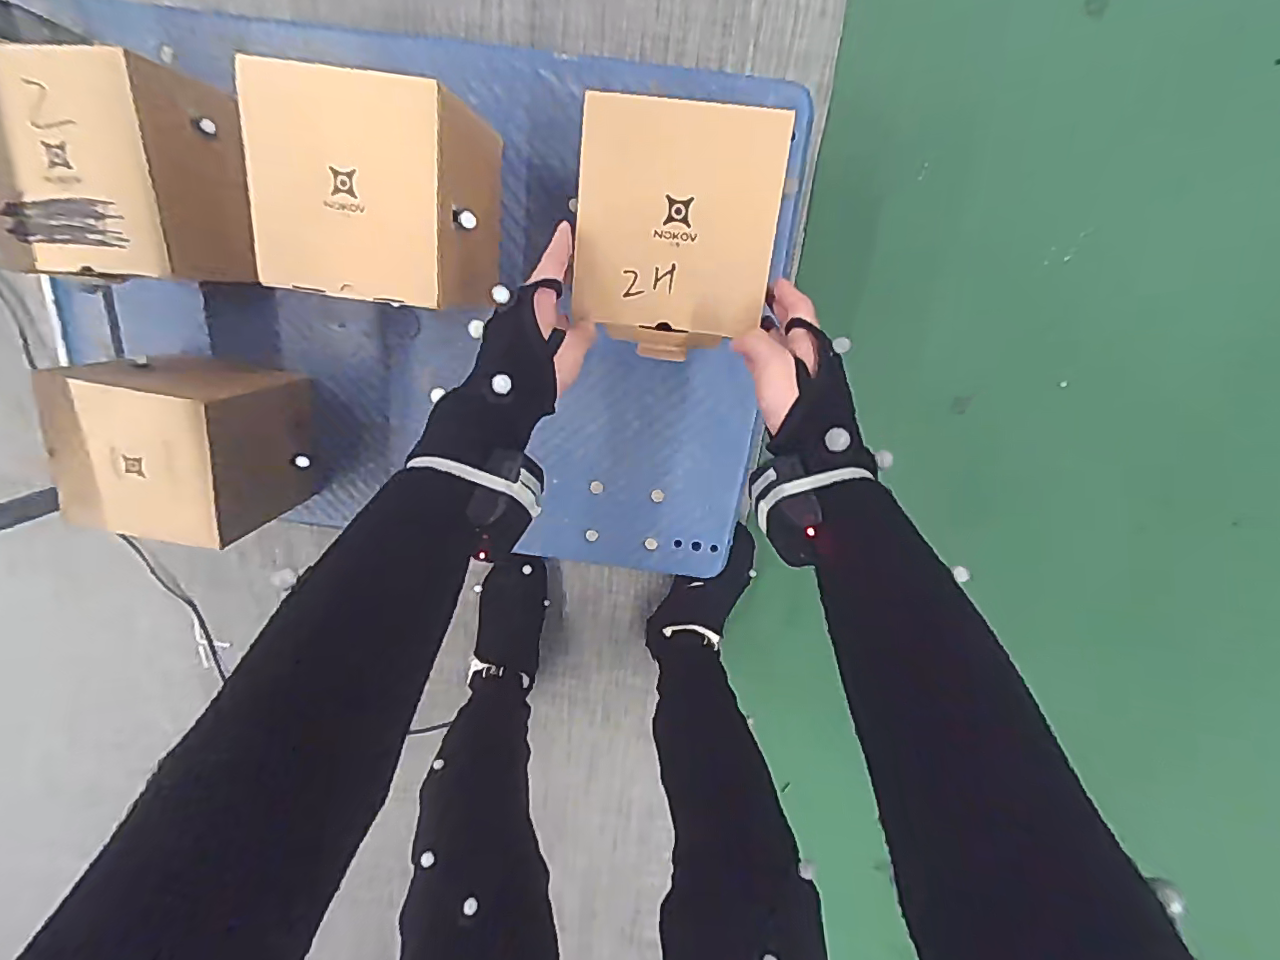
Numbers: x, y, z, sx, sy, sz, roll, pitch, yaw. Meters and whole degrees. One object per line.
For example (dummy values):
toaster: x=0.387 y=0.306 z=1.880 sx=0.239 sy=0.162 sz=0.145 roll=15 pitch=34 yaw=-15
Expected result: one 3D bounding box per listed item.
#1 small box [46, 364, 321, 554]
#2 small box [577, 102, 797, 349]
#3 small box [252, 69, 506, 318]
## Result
small box: x=-0.508 y=-0.036 z=0.631 sx=0.179 sy=0.176 sz=0.168 roll=10 pitch=109 yaw=-1
small box: x=0.039 y=-0.232 z=0.527 sx=0.168 sy=0.176 sz=0.179 roll=7 pitch=109 yaw=2
small box: x=-0.239 y=-0.266 z=0.537 sx=0.168 sy=0.176 sz=0.179 roll=8 pitch=110 yaw=1
